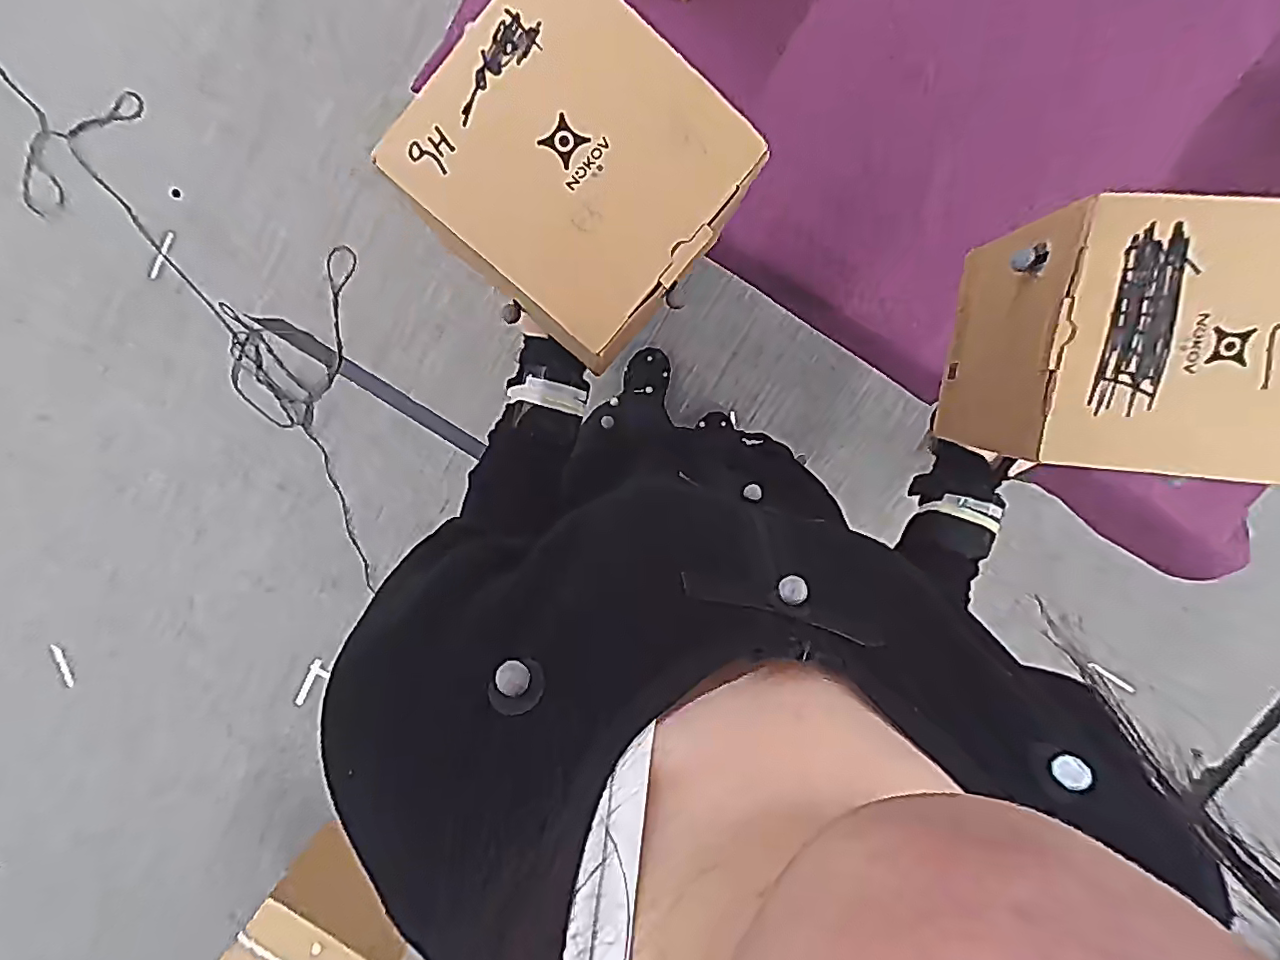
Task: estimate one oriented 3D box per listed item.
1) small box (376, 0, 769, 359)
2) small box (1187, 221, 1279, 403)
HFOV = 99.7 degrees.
[{"bbox_3d":[-0.043,-0.205,0.398,0.179,0.176,0.168,40,92,-9],"label":"small box"},{"bbox_3d":[0.798,-0.198,0.613,0.168,0.176,0.179,37,98,-3],"label":"small box"}]
